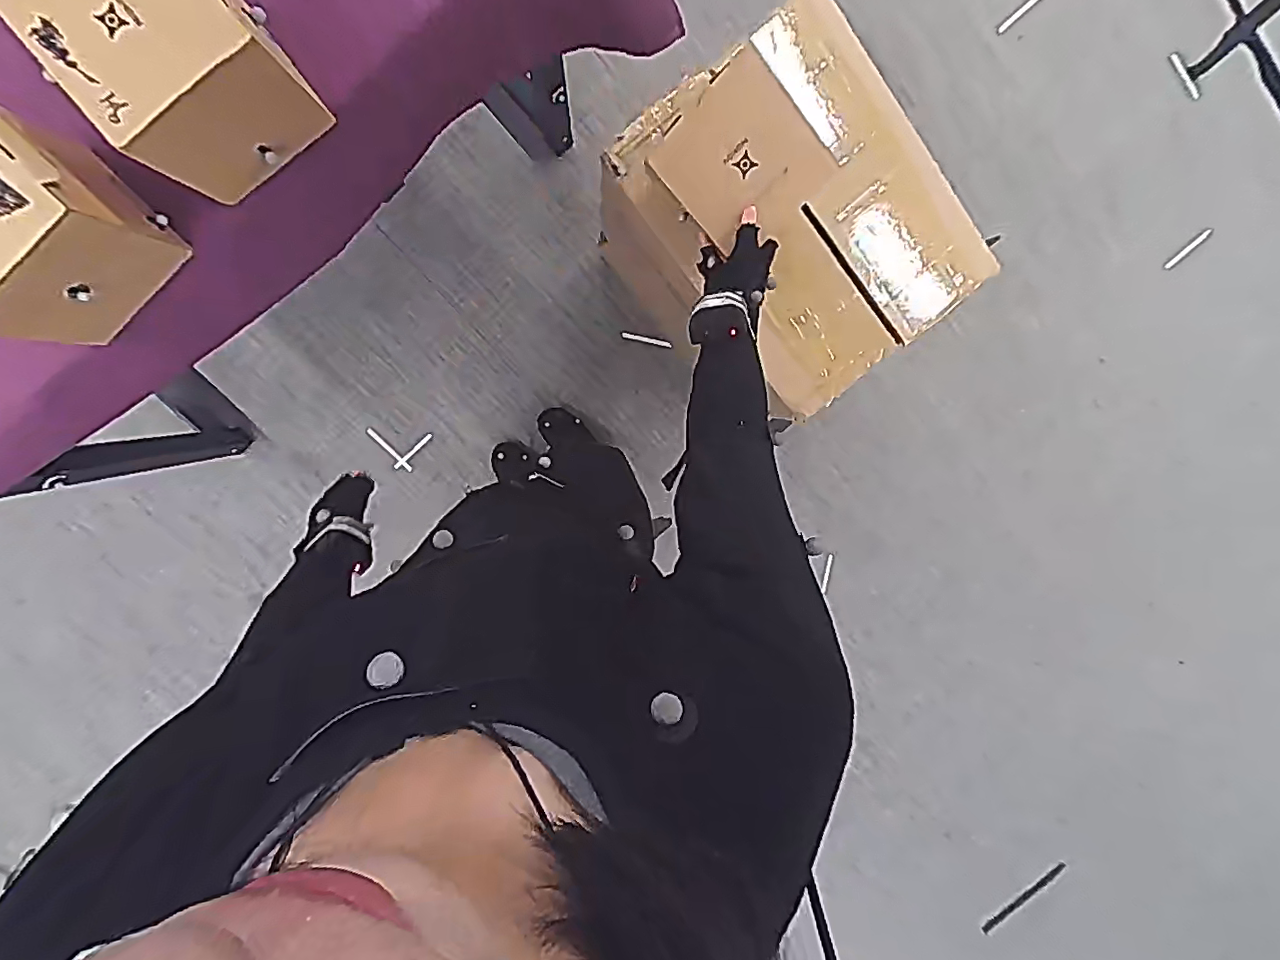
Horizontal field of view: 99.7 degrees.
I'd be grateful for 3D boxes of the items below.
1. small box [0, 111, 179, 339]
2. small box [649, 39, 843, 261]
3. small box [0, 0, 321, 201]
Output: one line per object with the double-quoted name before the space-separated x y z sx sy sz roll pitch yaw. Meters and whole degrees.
"small box" -0.673 -0.279 0.597 0.179 0.176 0.168 -42 99 4
"small box" 0.128 -0.414 0.717 0.168 0.176 0.179 -41 106 17
"small box" -0.487 -0.447 0.586 0.179 0.176 0.168 -37 99 1
